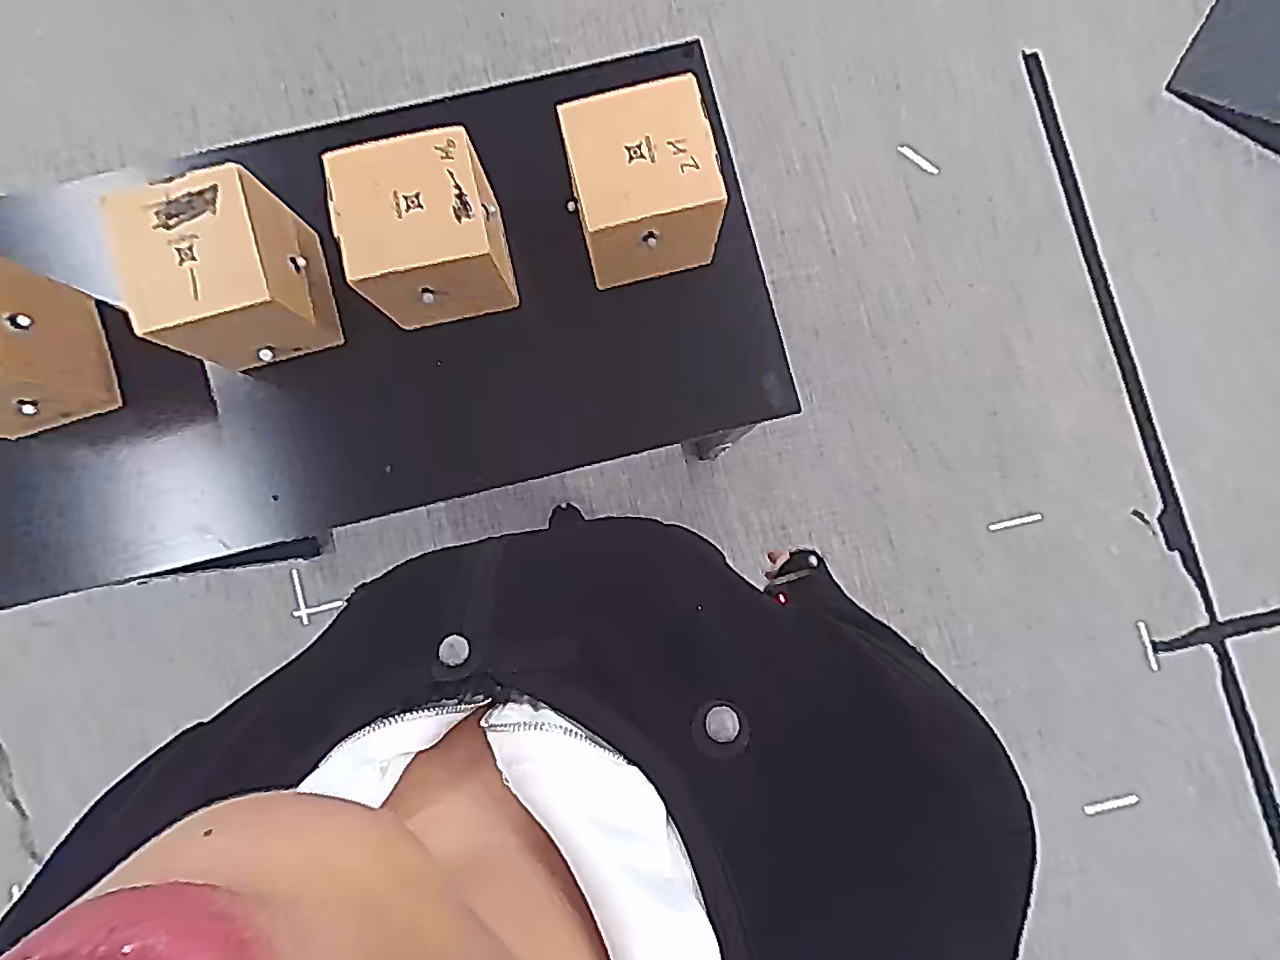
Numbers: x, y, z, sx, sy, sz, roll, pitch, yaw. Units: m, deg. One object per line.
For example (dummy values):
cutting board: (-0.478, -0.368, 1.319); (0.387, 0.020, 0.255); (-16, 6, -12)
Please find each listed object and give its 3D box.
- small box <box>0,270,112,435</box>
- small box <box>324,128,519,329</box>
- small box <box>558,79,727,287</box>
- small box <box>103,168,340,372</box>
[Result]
small box: (-0.849, -0.165, 0.699); (0.168, 0.176, 0.179); (-18, 86, -4)
small box: (-0.277, -0.318, 0.720); (0.179, 0.176, 0.168); (-13, 86, -1)
small box: (0.003, -0.381, 0.727); (0.179, 0.176, 0.168); (-14, 86, -1)
small box: (-0.531, -0.262, 0.711); (0.168, 0.176, 0.179); (-15, 87, -2)
